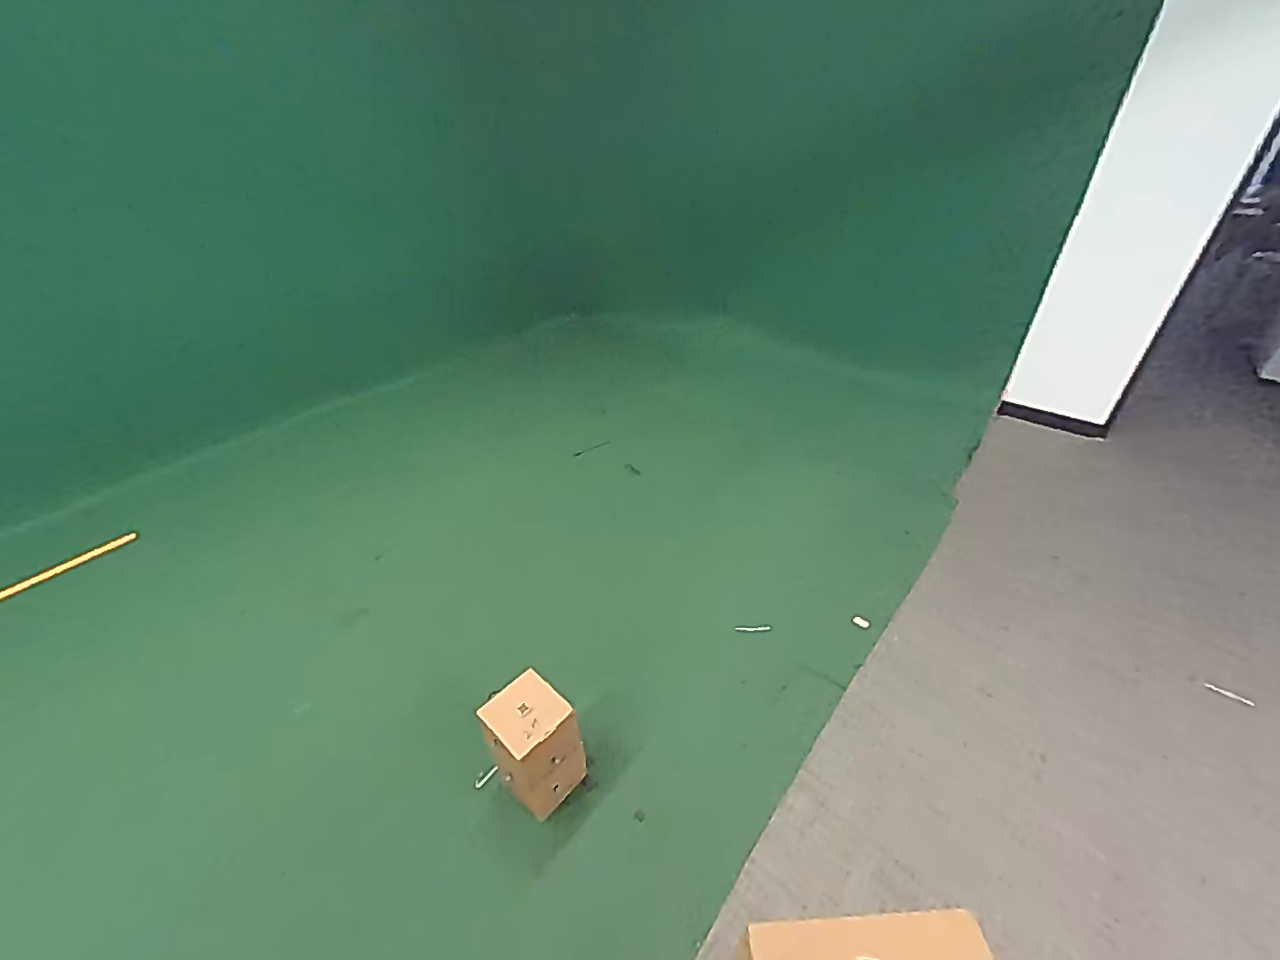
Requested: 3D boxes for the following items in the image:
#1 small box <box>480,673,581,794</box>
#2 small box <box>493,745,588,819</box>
[{"bbox_3d":[-0.264,0.622,1.327,0.179,0.176,0.168,28,46,35],"label":"small box"},{"bbox_3d":[-0.255,0.755,1.427,0.179,0.176,0.168,25,45,34],"label":"small box"}]
